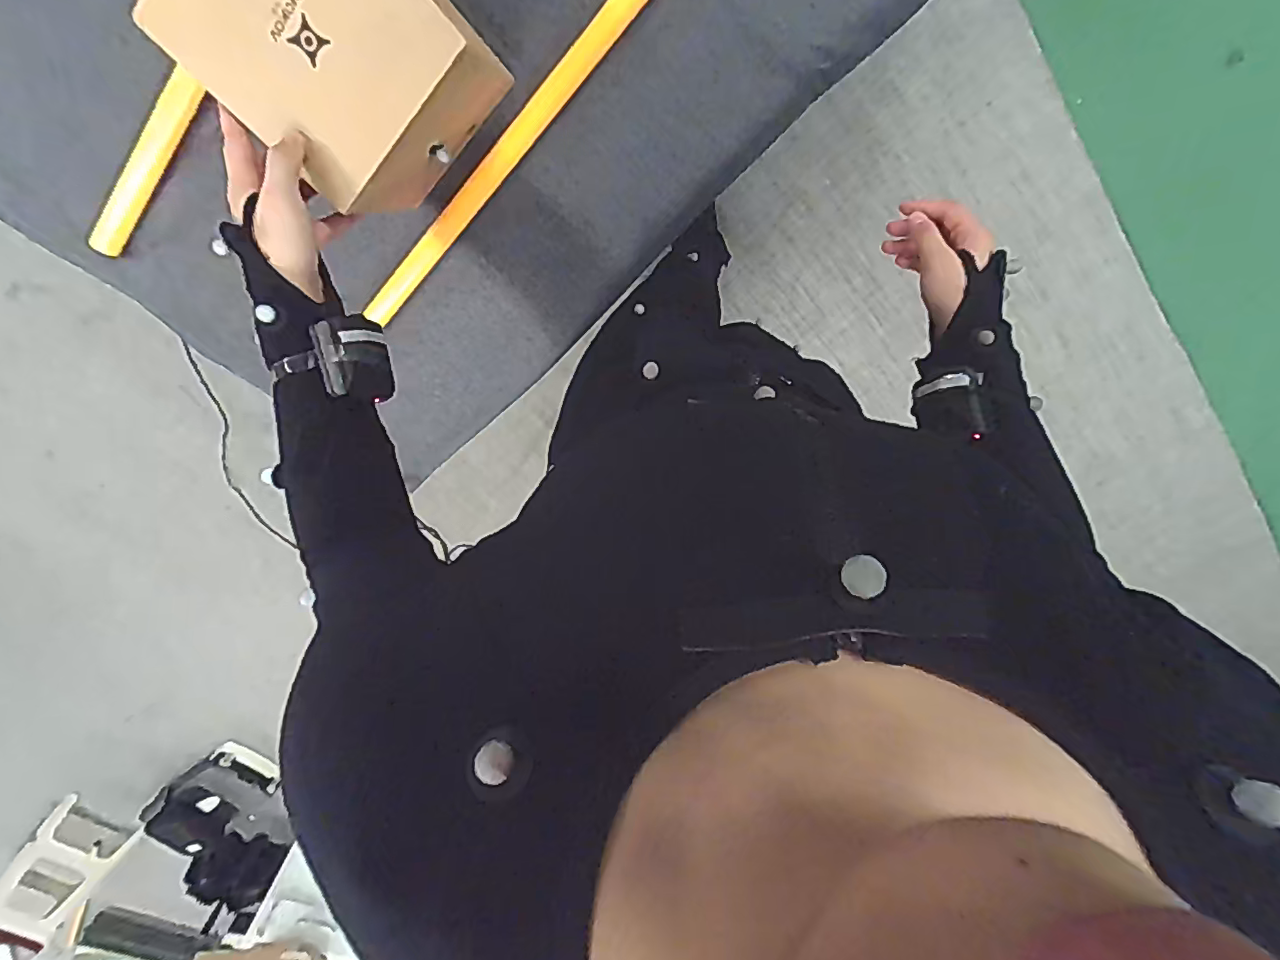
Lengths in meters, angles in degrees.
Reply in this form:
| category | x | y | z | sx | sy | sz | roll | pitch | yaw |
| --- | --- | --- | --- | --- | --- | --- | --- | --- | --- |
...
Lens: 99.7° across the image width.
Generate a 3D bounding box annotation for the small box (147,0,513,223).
| category | x | y | z | sx | sy | sz | roll | pitch | yaw |
| --- | --- | --- | --- | --- | --- | --- | --- | --- | --- |
| small box | -0.233 | -0.352 | 0.457 | 0.168 | 0.176 | 0.179 | -39 | 111 | 19 |
